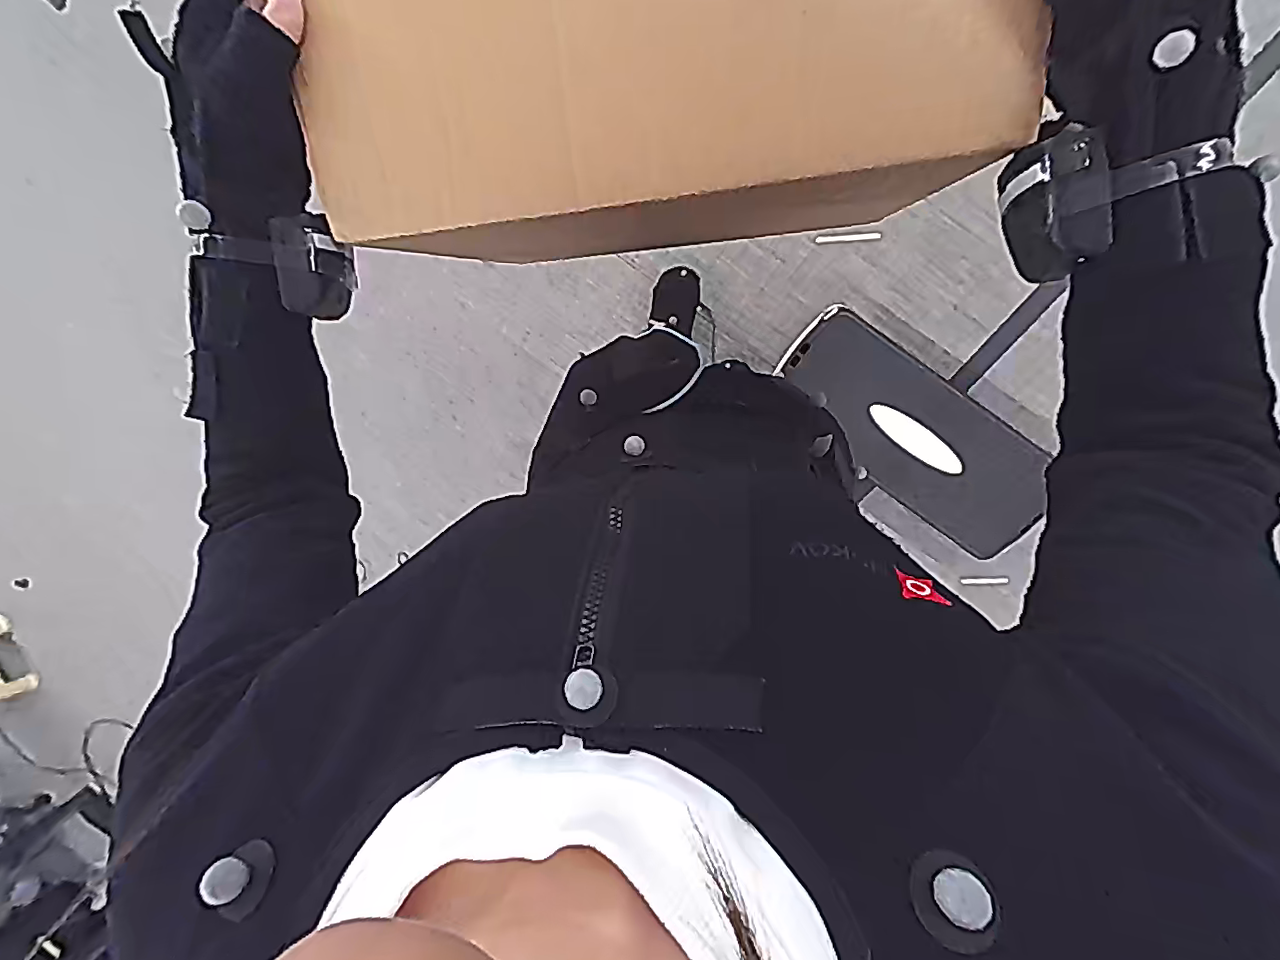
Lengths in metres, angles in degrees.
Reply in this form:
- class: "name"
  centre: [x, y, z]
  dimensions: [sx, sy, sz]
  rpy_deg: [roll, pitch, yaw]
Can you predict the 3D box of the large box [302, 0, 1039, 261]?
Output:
- class: "large box"
  centre: [0.015, -0.366, 0.415]
  dimensions: [0.408, 0.320, 0.320]
  rpy_deg: [-3, 109, 10]
